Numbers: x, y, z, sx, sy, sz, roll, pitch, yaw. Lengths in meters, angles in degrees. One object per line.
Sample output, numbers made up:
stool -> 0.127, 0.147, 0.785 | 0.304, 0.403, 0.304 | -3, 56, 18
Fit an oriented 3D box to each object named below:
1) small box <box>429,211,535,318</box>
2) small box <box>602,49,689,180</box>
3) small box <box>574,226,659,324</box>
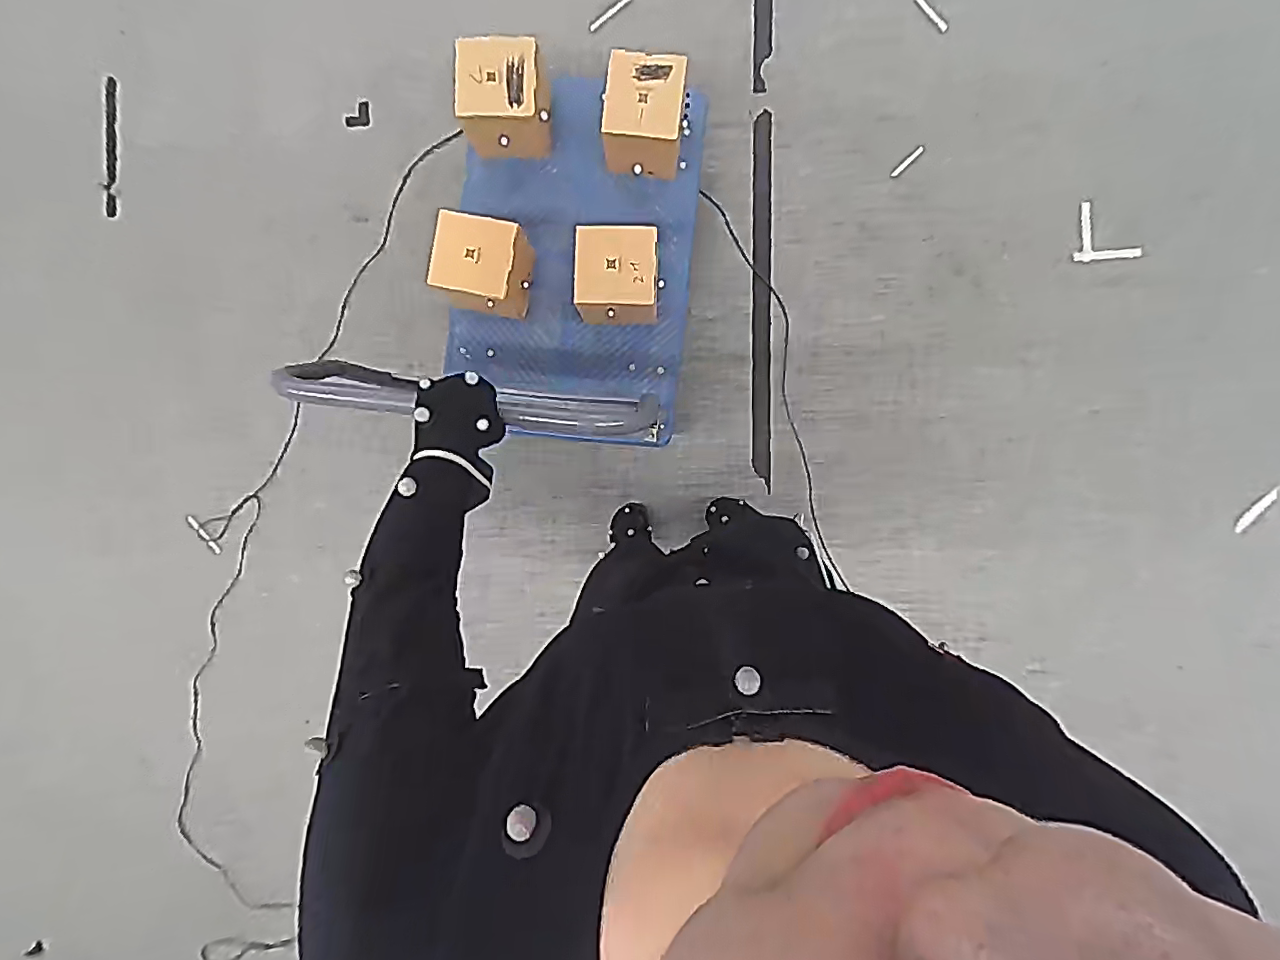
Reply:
small box -> -0.356, -0.486, 1.242 | 0.179, 0.176, 0.168 | 10, 91, 0
small box -> 0.013, -0.814, 1.218 | 0.168, 0.176, 0.179 | 7, 93, 2
small box -> -0.048, -0.458, 1.229 | 0.179, 0.176, 0.168 | 2, 92, 2
